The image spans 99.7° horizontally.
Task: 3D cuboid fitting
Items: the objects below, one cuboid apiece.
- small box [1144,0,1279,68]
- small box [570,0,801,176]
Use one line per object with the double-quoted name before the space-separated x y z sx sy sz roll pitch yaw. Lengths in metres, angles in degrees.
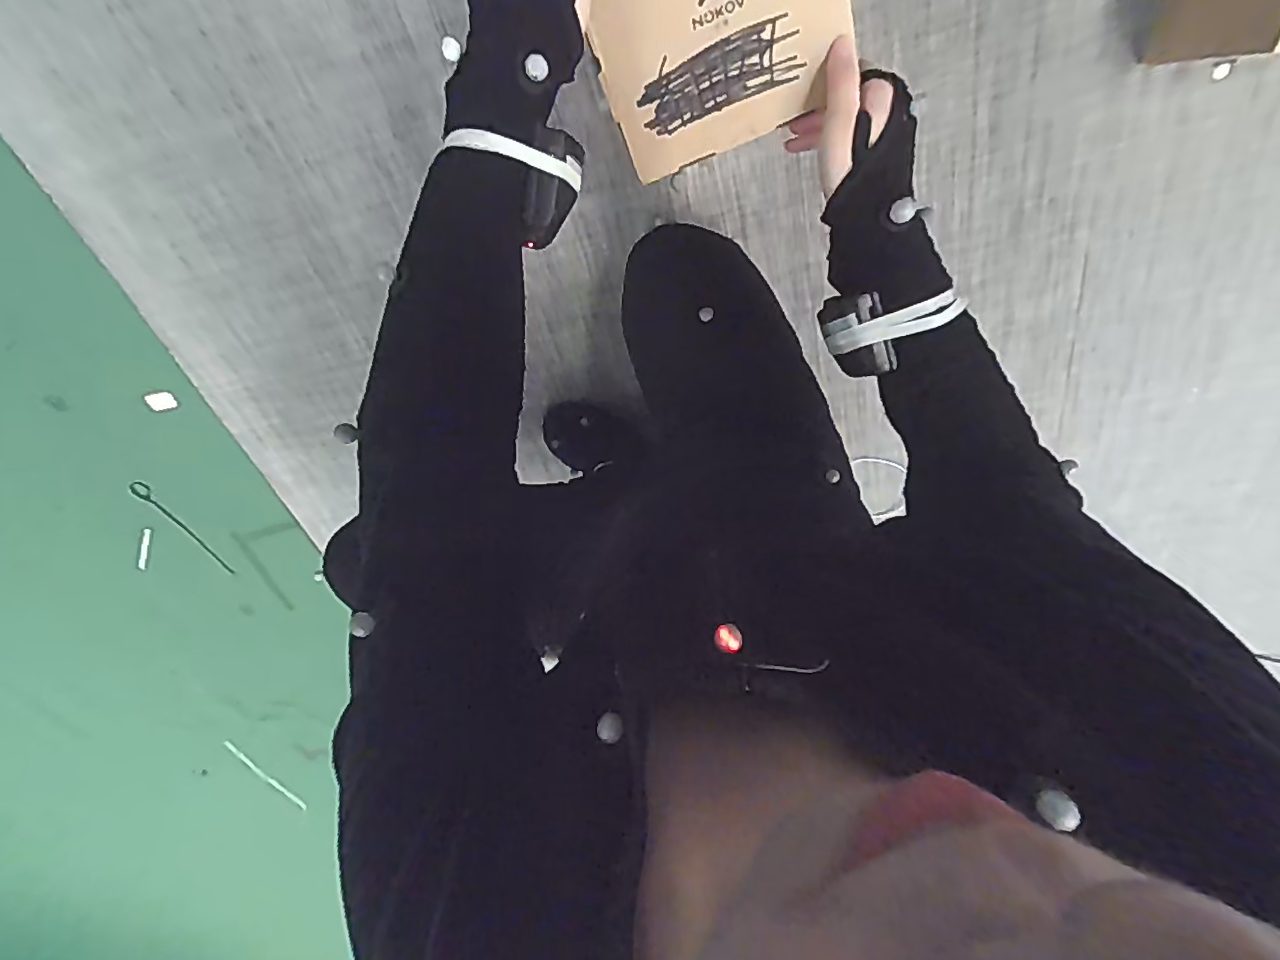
"small box" 0.642 -0.507 0.505 0.168 0.176 0.179 -1 122 3
"small box" 0.049 -0.442 0.563 0.179 0.176 0.168 -18 121 14
